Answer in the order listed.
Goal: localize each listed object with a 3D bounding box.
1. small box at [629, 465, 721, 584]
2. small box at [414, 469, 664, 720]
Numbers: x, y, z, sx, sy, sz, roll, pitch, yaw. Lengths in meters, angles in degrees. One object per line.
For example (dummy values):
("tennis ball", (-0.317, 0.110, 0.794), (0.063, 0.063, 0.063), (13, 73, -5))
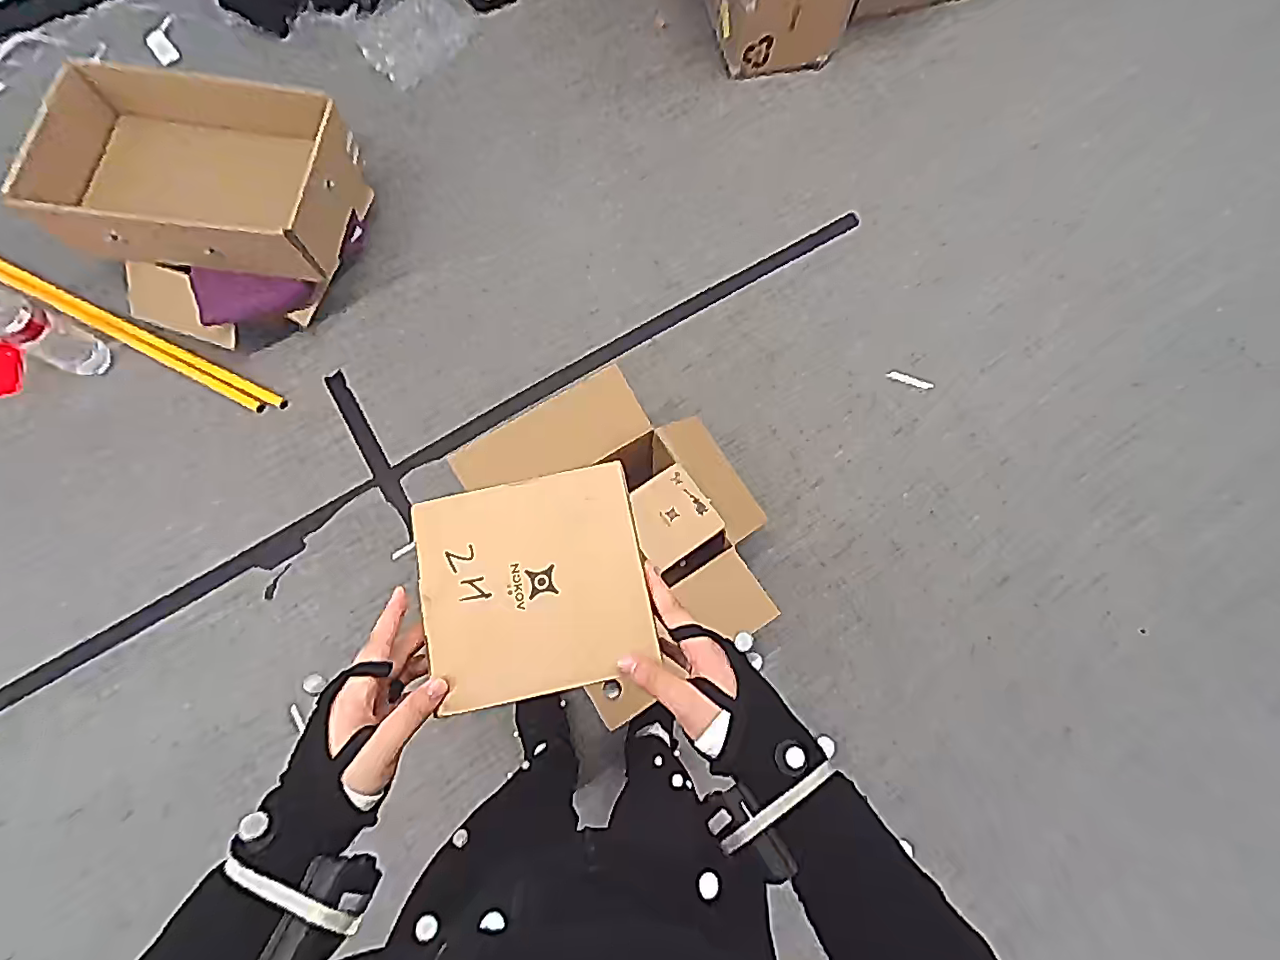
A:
("small box", (0.043, 0.102, 1.149), (0.179, 0.176, 0.168), (-33, 78, -14))
("small box", (-0.081, 0.104, 0.500), (0.179, 0.176, 0.168), (-13, 75, -2))
